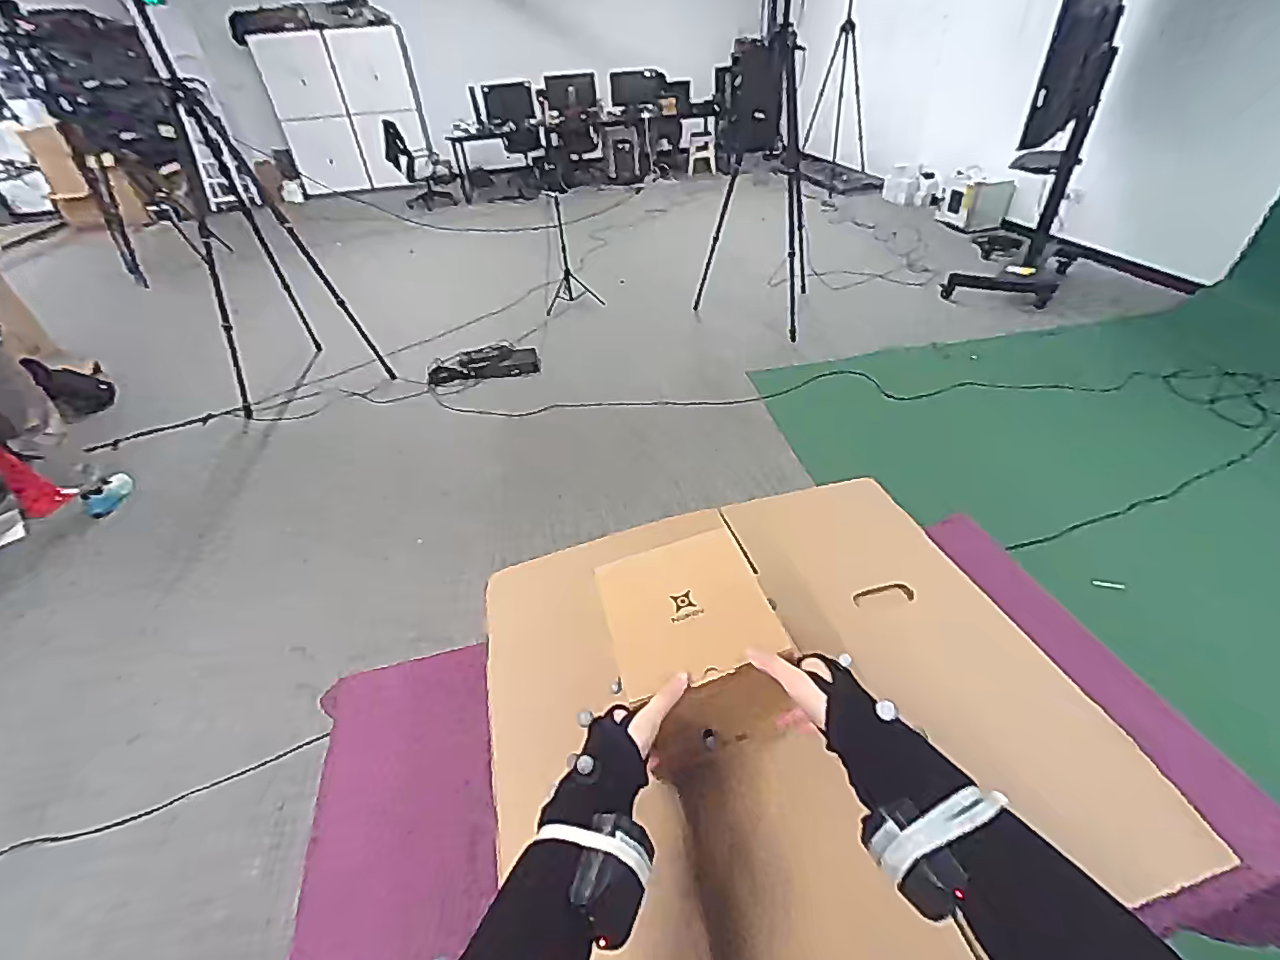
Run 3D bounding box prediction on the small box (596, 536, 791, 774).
[{"bbox_3d":[0.058,0.199,0.622,0.168,0.176,0.179,-17,41,-5],"label":"small box"}]
